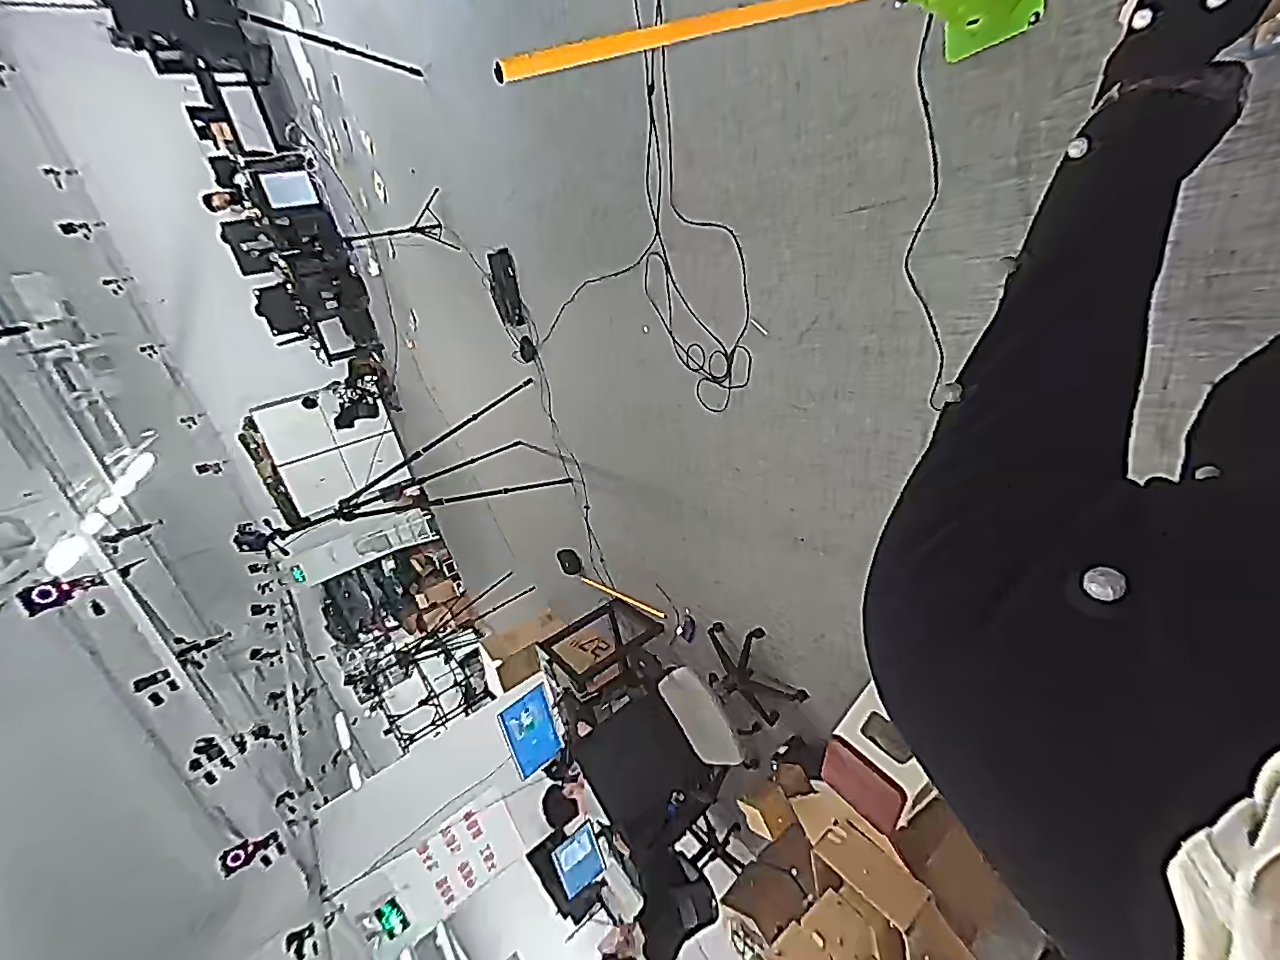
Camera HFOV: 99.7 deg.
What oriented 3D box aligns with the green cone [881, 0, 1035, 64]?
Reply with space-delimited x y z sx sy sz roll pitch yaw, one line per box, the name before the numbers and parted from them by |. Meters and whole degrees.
green cone | 0.615 -1.002 1.103 0.202 0.368 0.200 15 125 55
